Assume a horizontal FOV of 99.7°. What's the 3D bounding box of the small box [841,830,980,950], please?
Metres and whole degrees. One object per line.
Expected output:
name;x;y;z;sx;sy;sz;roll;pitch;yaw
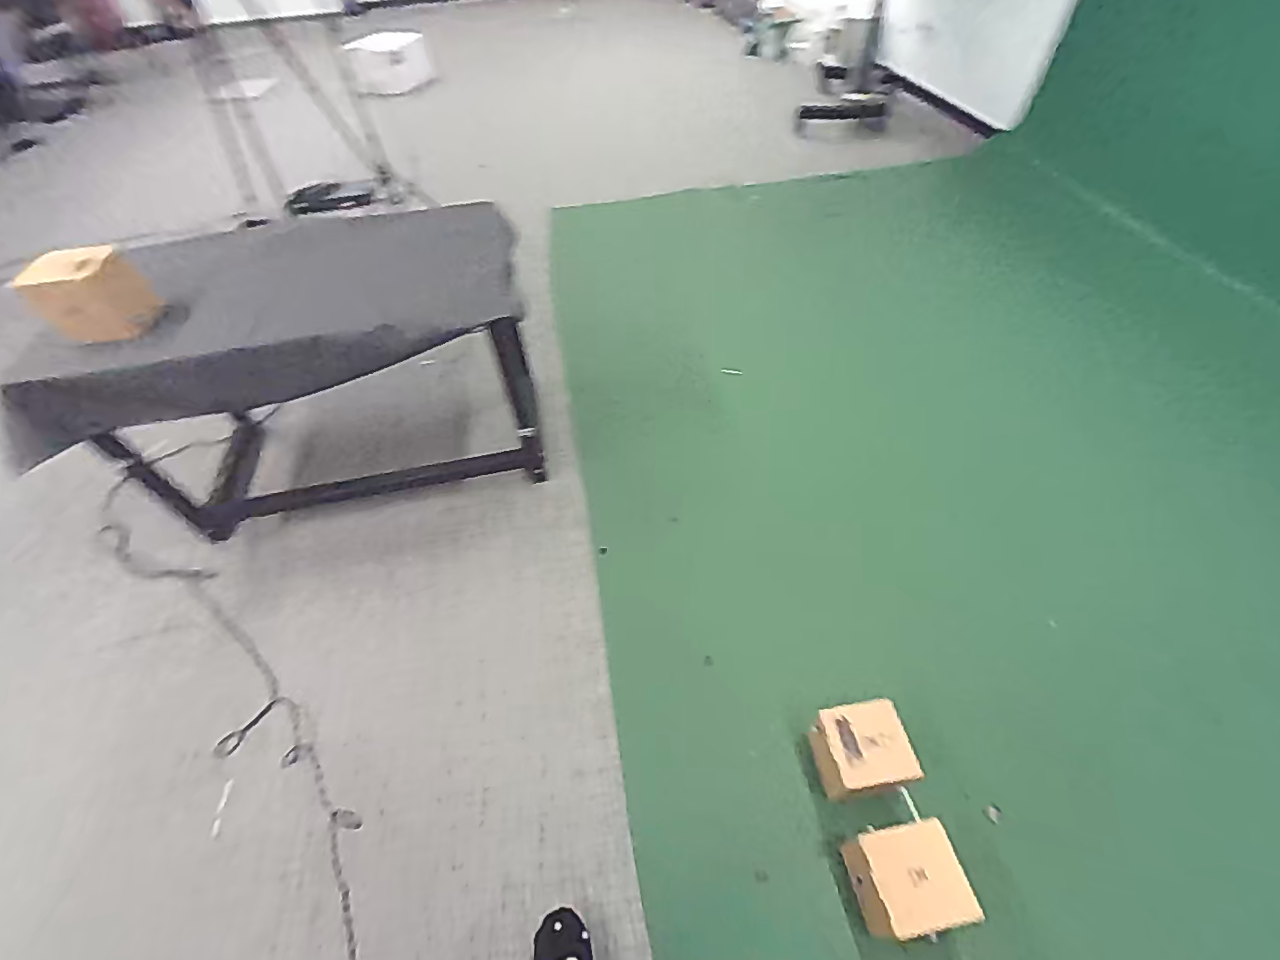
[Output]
small box;0.541;0.838;1.111;0.179;0.176;0.168;-10;51;-4

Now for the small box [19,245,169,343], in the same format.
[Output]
small box;-1.359;-0.468;1.365;0.179;0.176;0.168;-8;50;-3
